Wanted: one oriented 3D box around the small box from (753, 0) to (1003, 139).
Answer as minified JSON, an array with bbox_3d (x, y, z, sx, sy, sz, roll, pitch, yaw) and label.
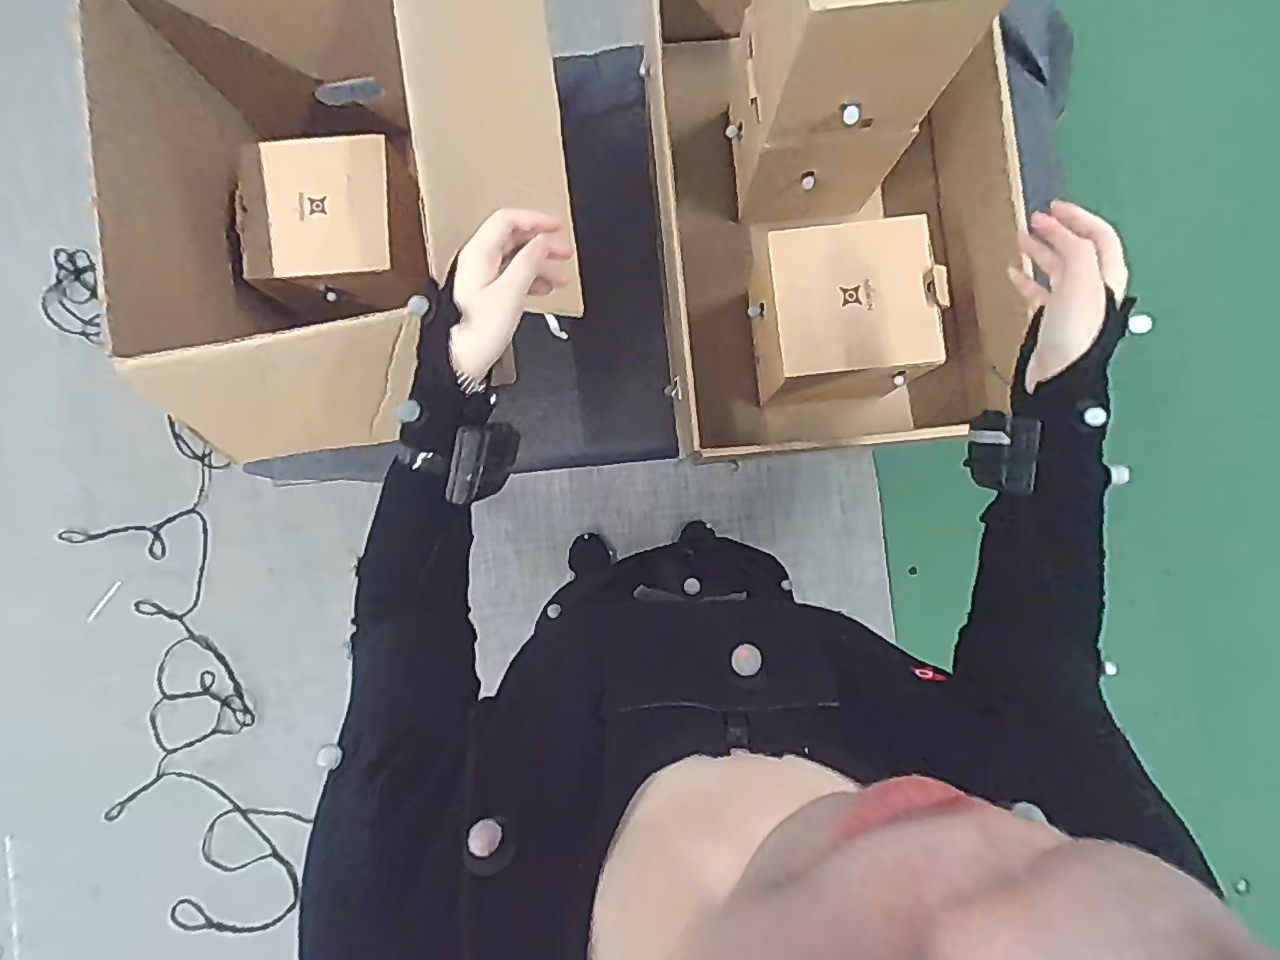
[{"bbox_3d":[0.208,-0.467,0.514,0.168,0.176,0.179,-5,90,1],"label":"small box"}]
